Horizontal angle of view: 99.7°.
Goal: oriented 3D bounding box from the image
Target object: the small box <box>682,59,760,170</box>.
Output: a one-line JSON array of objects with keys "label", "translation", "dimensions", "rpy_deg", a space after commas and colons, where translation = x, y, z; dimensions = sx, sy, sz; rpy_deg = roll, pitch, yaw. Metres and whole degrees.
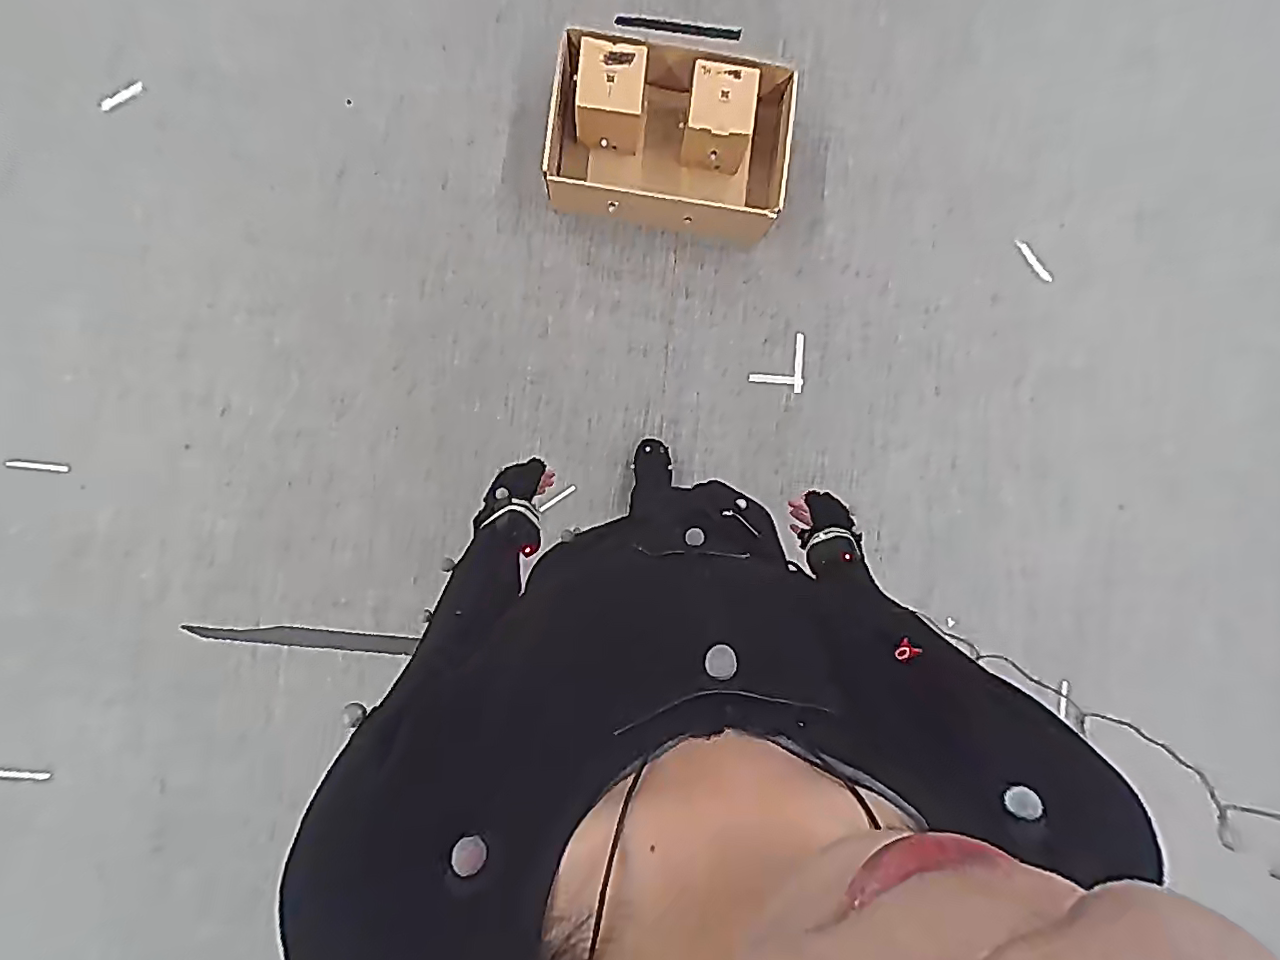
[{"label": "small box", "translation": [0.206, -0.954, 1.428], "dimensions": [0.168, 0.176, 0.179], "rpy_deg": [8, 90, -1]}]
